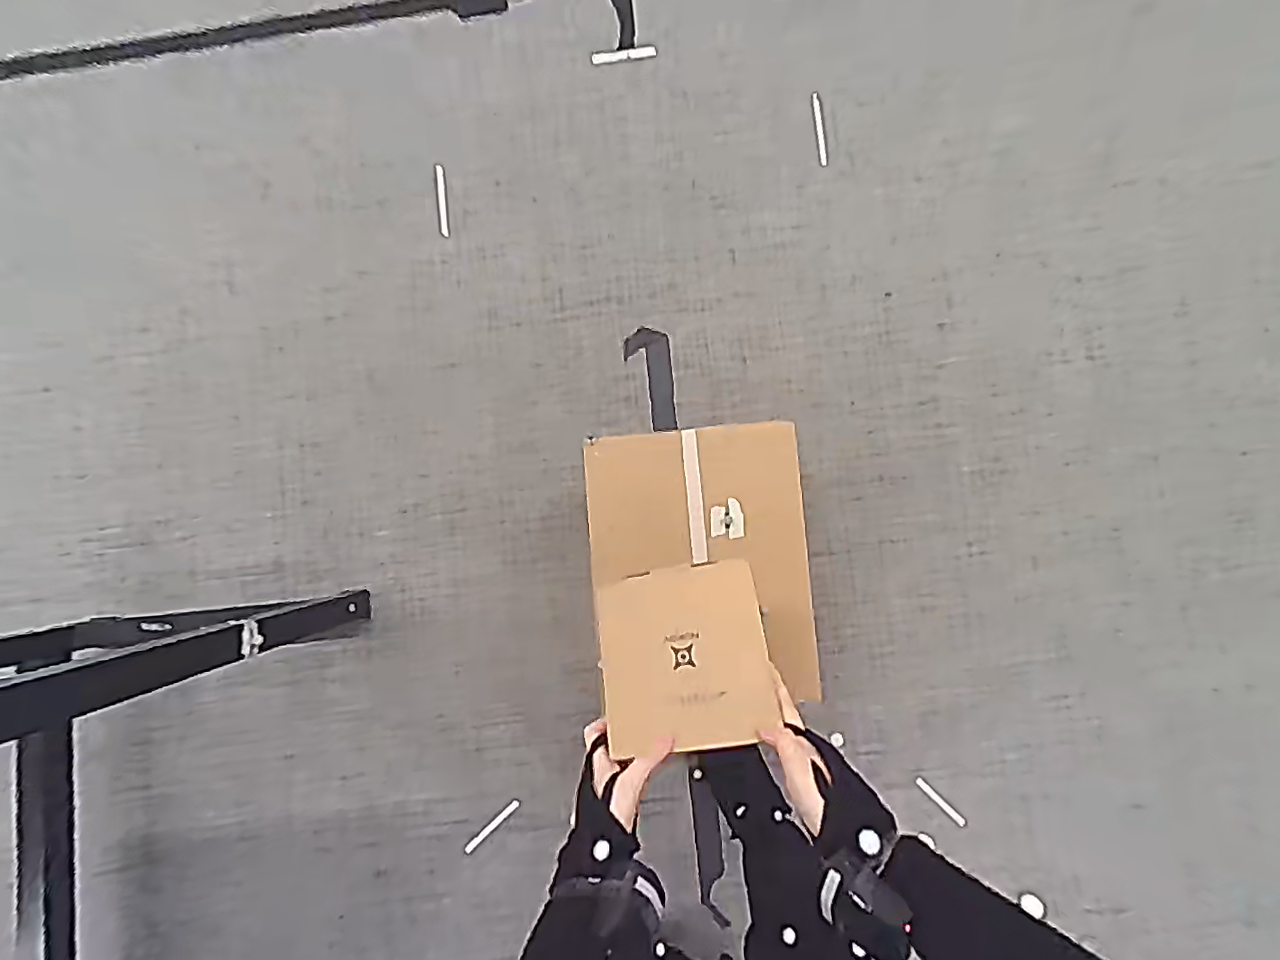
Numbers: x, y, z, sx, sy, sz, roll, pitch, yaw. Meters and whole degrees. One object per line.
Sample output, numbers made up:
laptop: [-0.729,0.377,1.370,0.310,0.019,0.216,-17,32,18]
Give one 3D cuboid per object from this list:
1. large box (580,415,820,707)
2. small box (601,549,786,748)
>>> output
large box: [0.088,0.129,0.921,0.320,0.320,0.408,-5,85,1]
small box: [0.058,0.194,0.603,0.168,0.176,0.179,-10,65,7]
